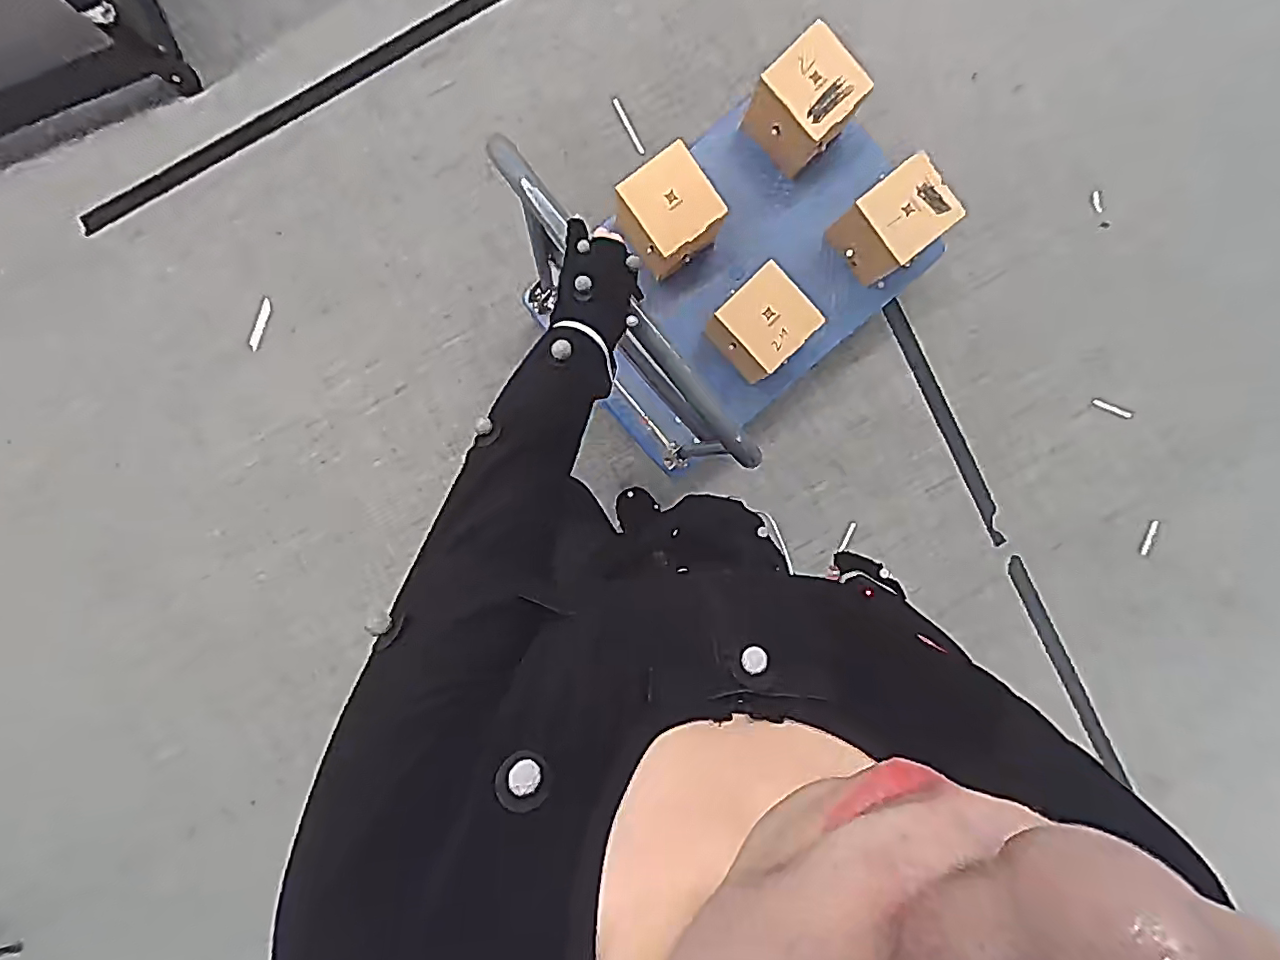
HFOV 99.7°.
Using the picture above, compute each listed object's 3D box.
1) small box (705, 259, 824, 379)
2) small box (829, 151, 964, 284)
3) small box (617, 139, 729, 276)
[{"bbox_3d":[0.265,-0.345,1.199,0.168,0.176,0.179,-43,95,1],"label":"small box"},{"bbox_3d":[0.556,-0.569,1.198,0.179,0.176,0.168,-38,95,2],"label":"small box"},{"bbox_3d":[0.061,-0.577,1.173,0.168,0.176,0.179,-37,97,0],"label":"small box"}]
